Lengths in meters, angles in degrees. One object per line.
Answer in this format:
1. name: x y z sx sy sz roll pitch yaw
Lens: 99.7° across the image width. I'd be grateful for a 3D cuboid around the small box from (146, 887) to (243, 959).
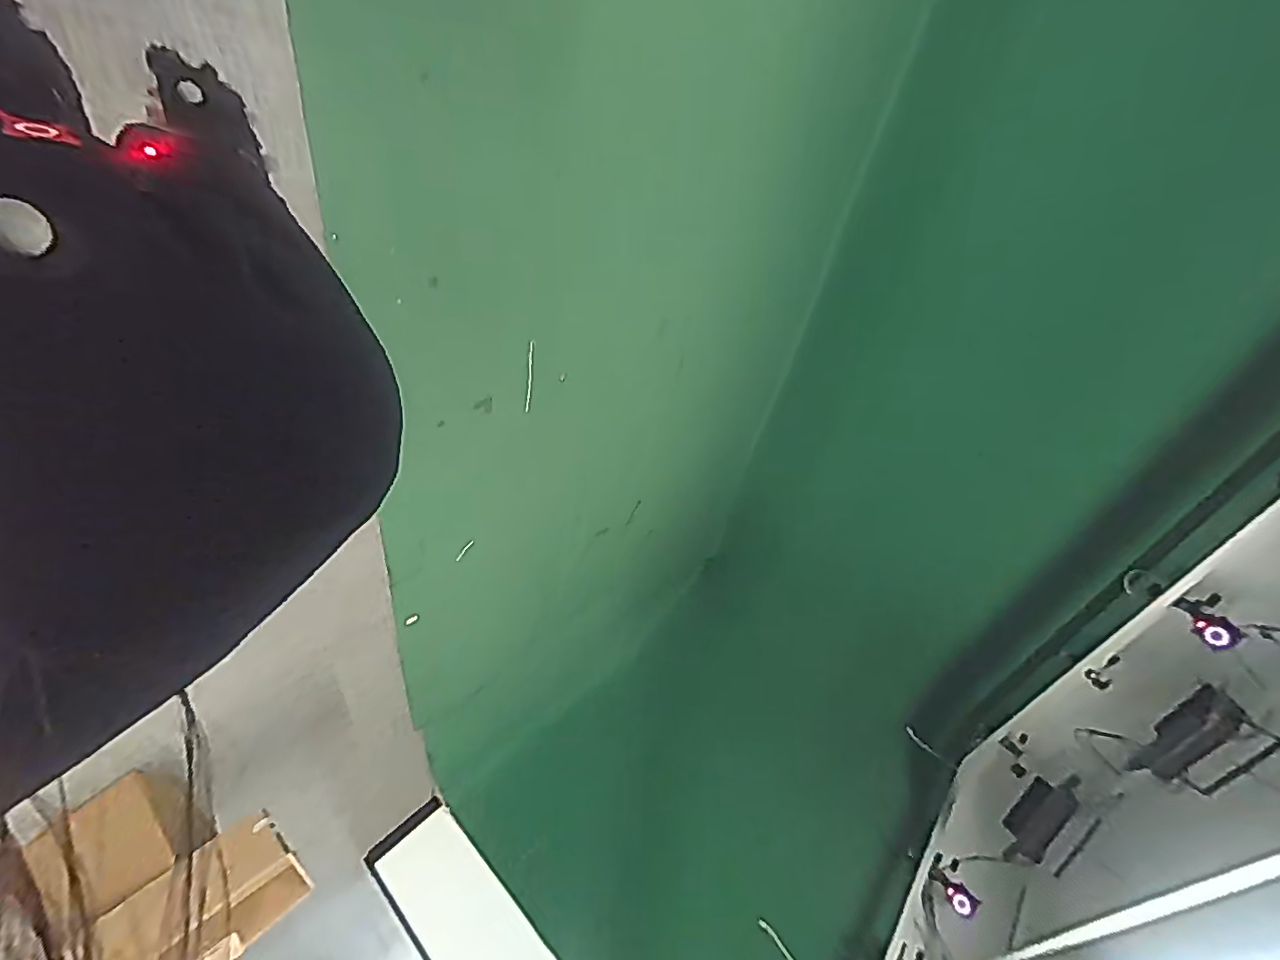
1. small box: -1.294 1.343 1.574 0.168 0.176 0.179 -25 143 -47
